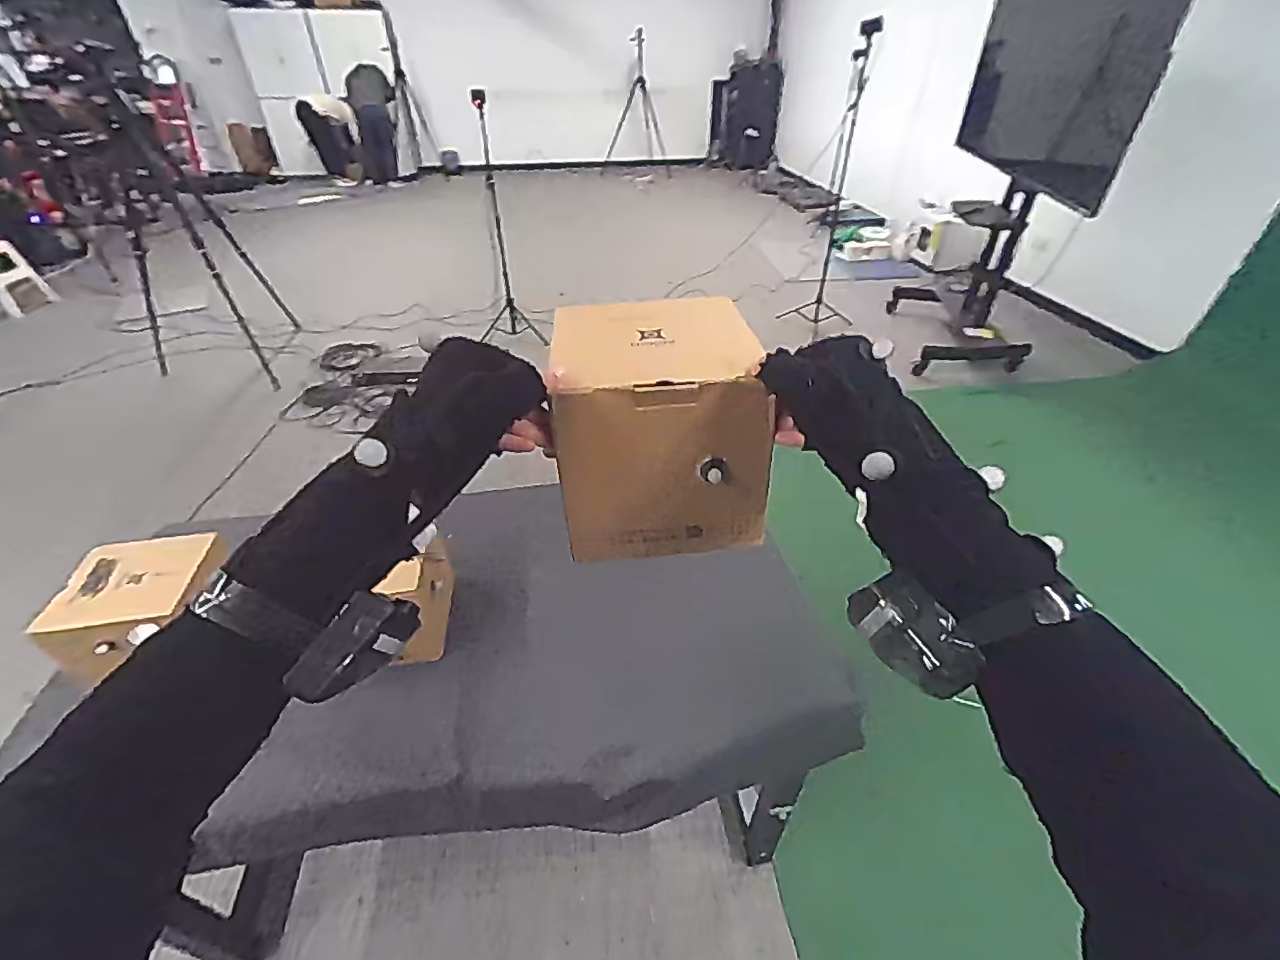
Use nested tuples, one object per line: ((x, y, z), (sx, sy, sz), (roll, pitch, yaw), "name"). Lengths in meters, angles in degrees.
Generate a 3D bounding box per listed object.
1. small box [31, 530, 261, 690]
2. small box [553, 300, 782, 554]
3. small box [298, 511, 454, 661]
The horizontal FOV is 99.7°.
((-0.737, 0.202, 0.835), (0.179, 0.176, 0.168), (-6, 40, -10), "small box")
((0.018, -0.047, 0.488), (0.168, 0.176, 0.179), (-5, 35, -3), "small box")
((-0.408, 0.175, 0.874), (0.168, 0.176, 0.179), (-5, 40, -7), "small box")
